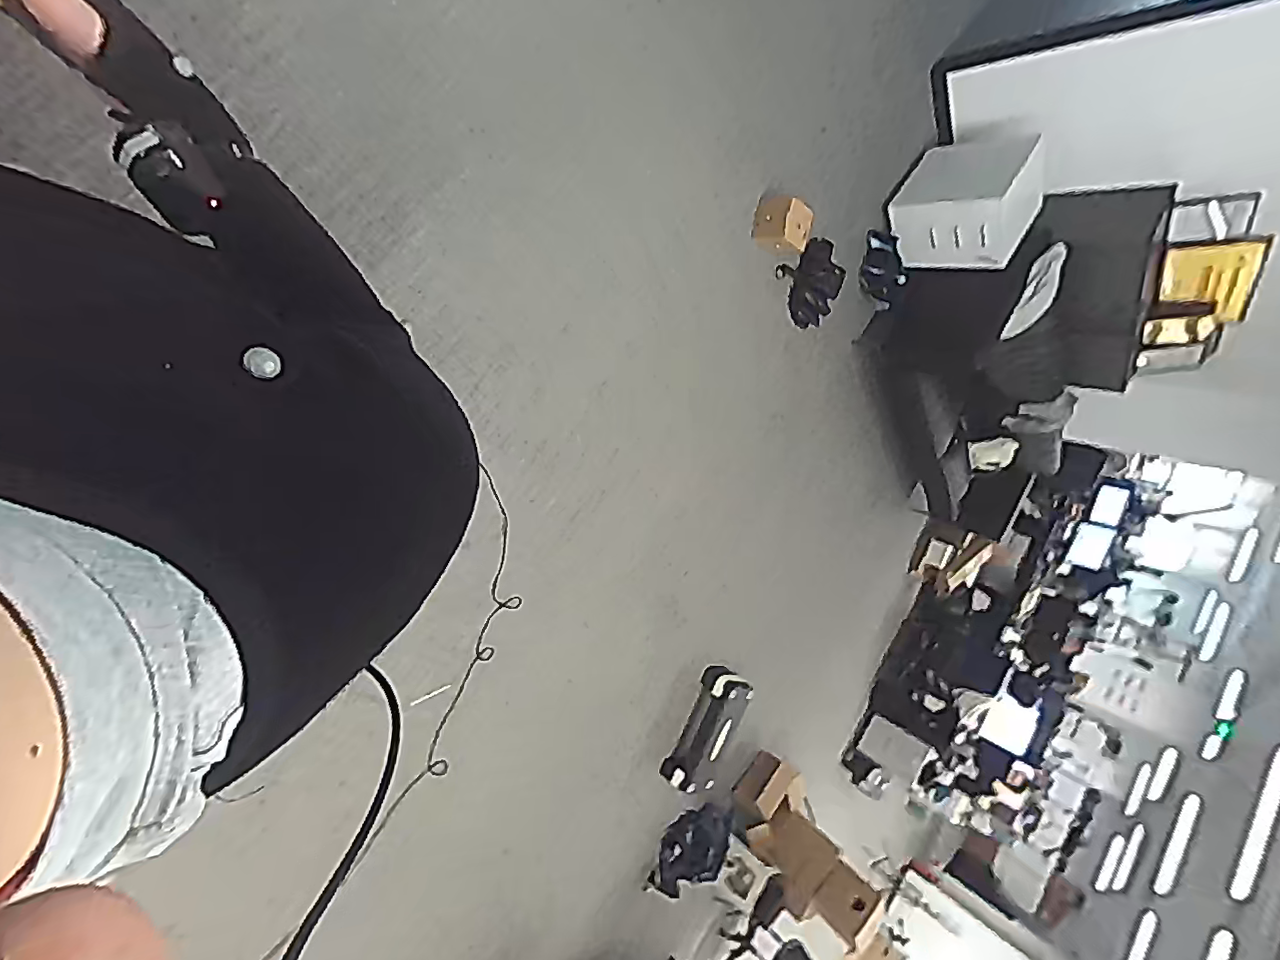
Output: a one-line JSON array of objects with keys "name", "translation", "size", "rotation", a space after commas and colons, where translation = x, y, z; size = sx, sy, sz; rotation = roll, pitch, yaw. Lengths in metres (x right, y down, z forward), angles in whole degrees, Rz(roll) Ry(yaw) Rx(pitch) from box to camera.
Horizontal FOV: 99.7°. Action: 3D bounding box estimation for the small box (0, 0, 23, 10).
[{"name": "small box", "translation": [-0.482, -0.407, 0.301], "size": [0.168, 0.176, 0.179], "rotation": [-12, 133, -39]}]
